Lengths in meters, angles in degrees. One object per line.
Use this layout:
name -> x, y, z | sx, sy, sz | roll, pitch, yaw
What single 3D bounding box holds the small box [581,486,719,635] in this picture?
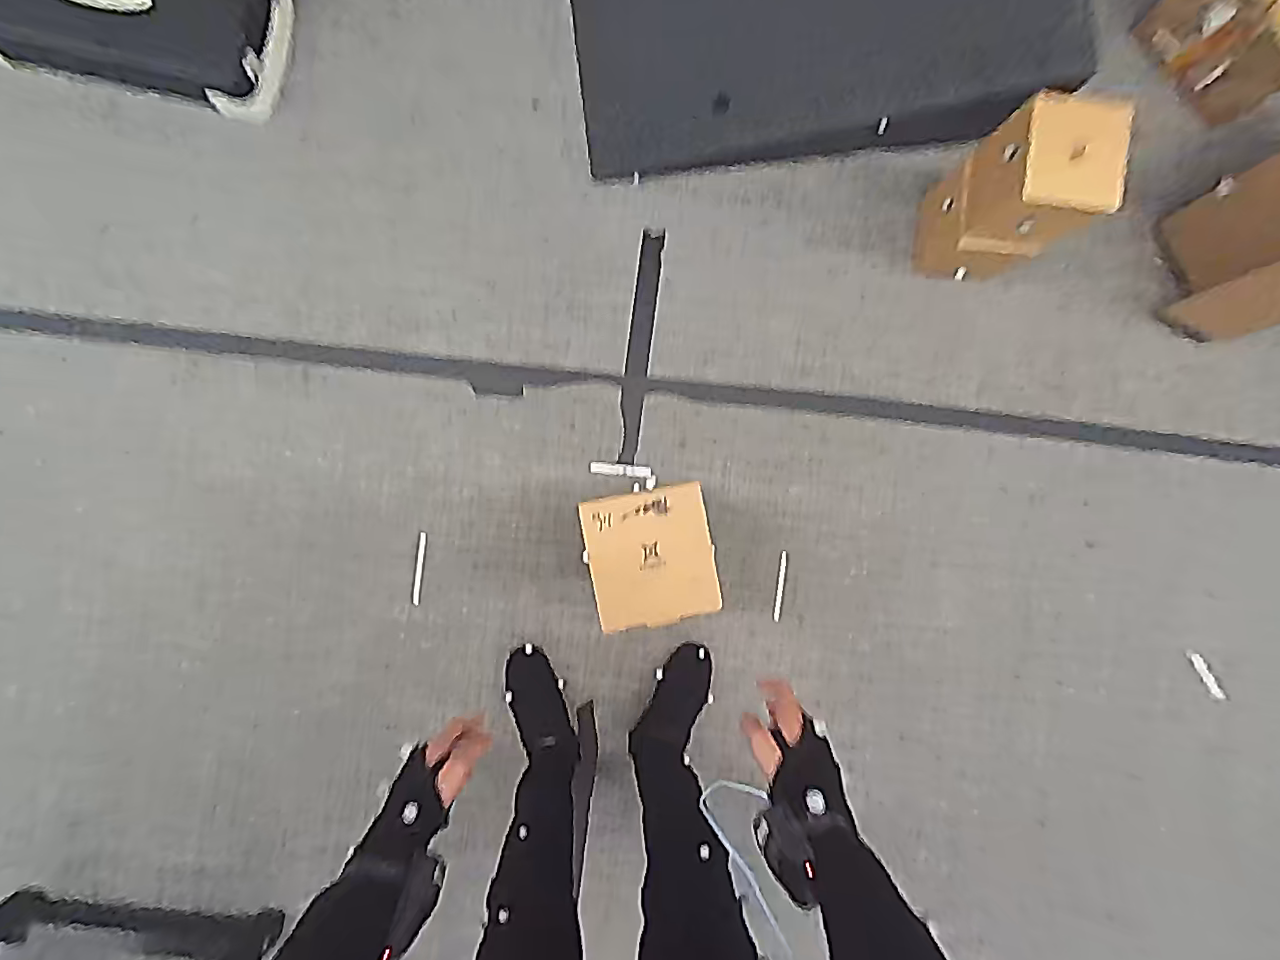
small box -> 0.012, 0.109, 0.802 | 0.168, 0.176, 0.179 | -10, 91, -2
